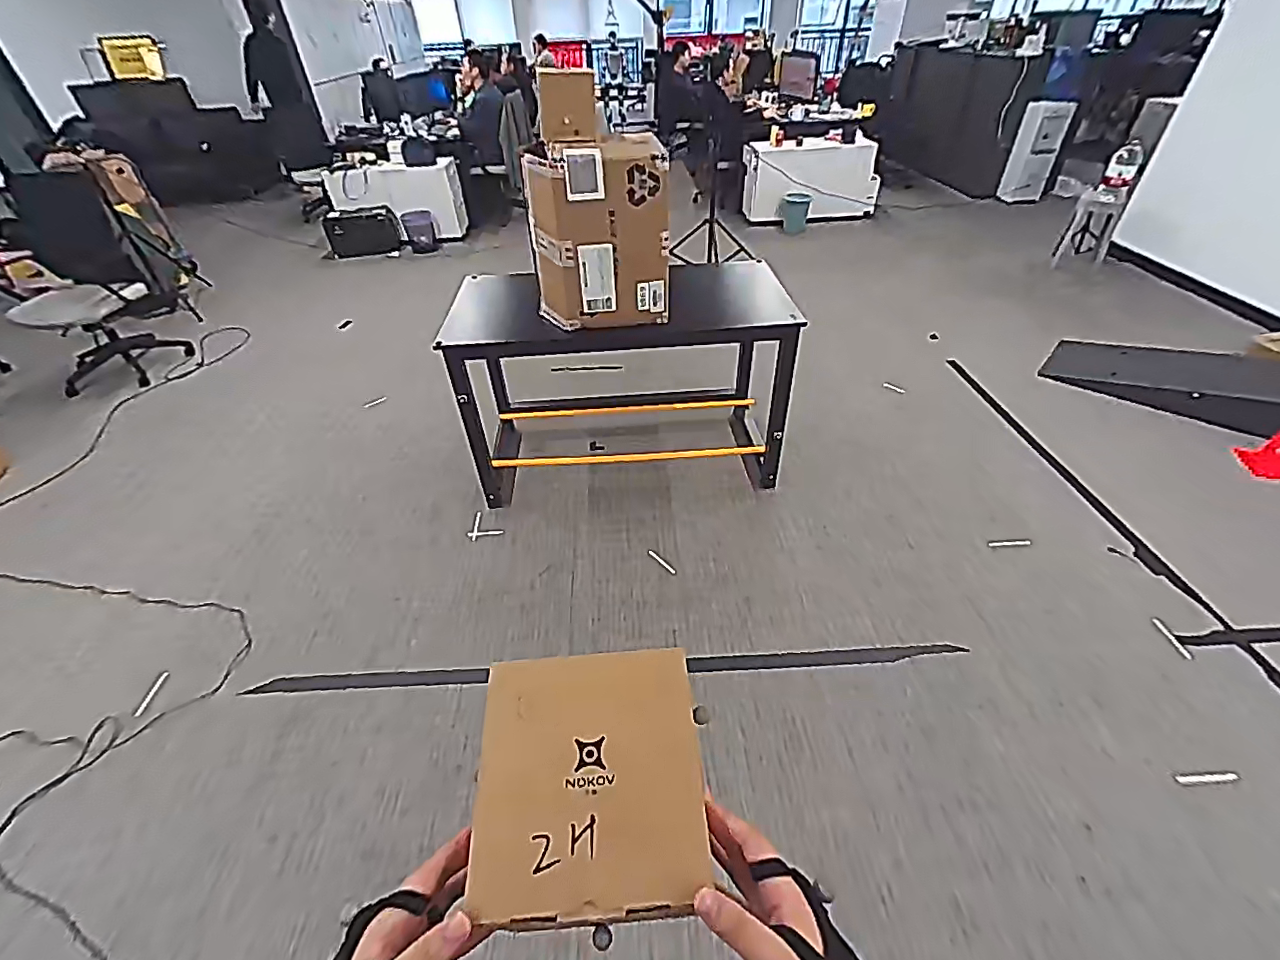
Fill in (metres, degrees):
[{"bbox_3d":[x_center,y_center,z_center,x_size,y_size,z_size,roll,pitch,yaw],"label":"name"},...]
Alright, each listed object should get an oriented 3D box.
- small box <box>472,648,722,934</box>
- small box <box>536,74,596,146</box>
[{"bbox_3d":[-0.031,0.266,0.463,0.168,0.176,0.179,-4,49,-1],"label":"small box"},{"bbox_3d":[-0.223,-1.117,1.629,0.168,0.176,0.179,-6,39,-7],"label":"small box"}]
